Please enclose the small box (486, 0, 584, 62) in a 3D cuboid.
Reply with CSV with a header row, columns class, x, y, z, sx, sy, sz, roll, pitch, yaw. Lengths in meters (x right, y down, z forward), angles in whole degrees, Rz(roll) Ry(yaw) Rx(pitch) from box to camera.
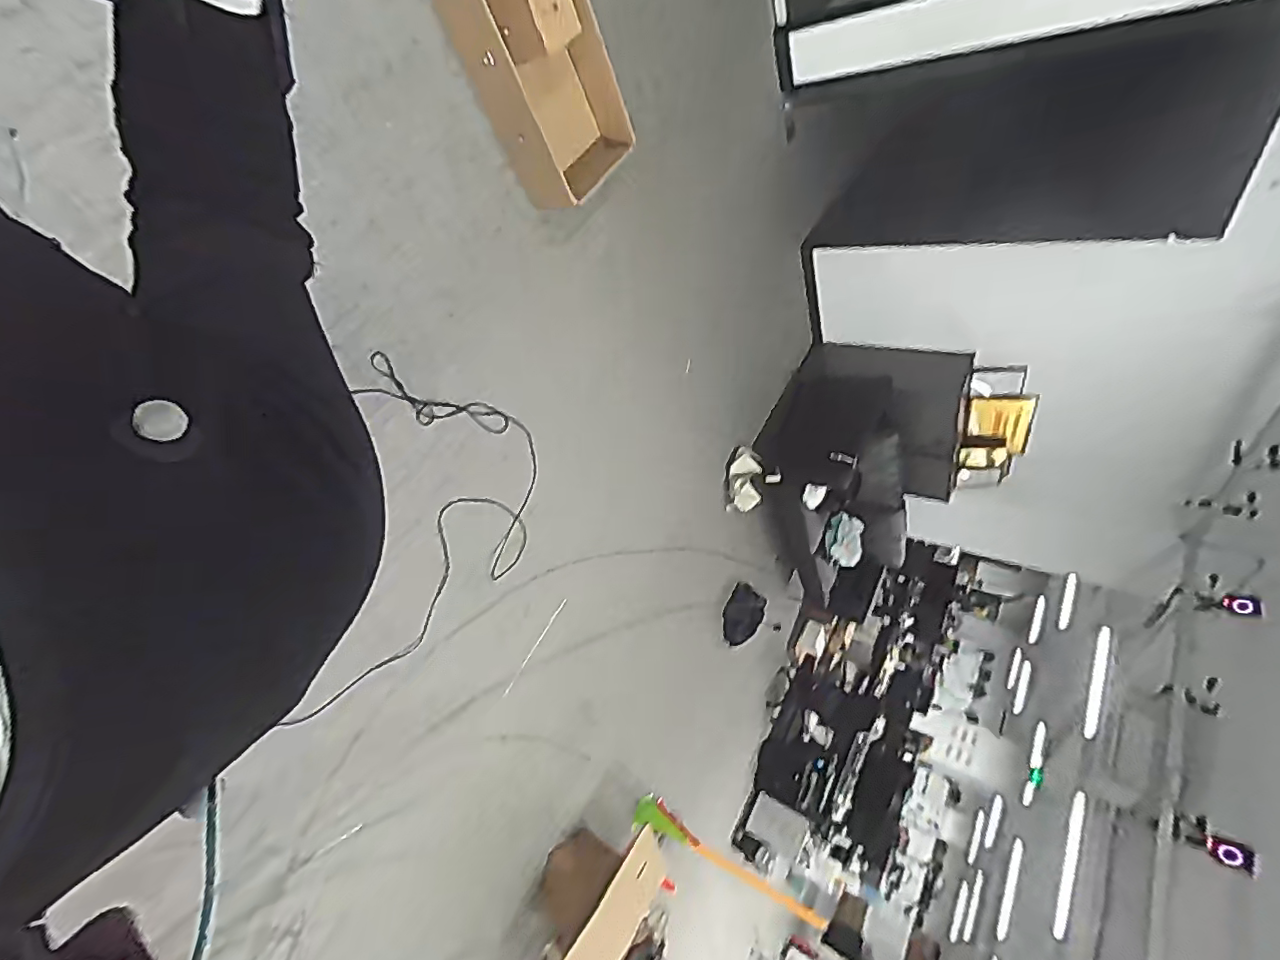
class,x,y,z,sx,sy,sz,roll,pitch,yaw
small box,-0.293,-1.311,1.511,0.179,0.176,0.168,-57,143,-24
